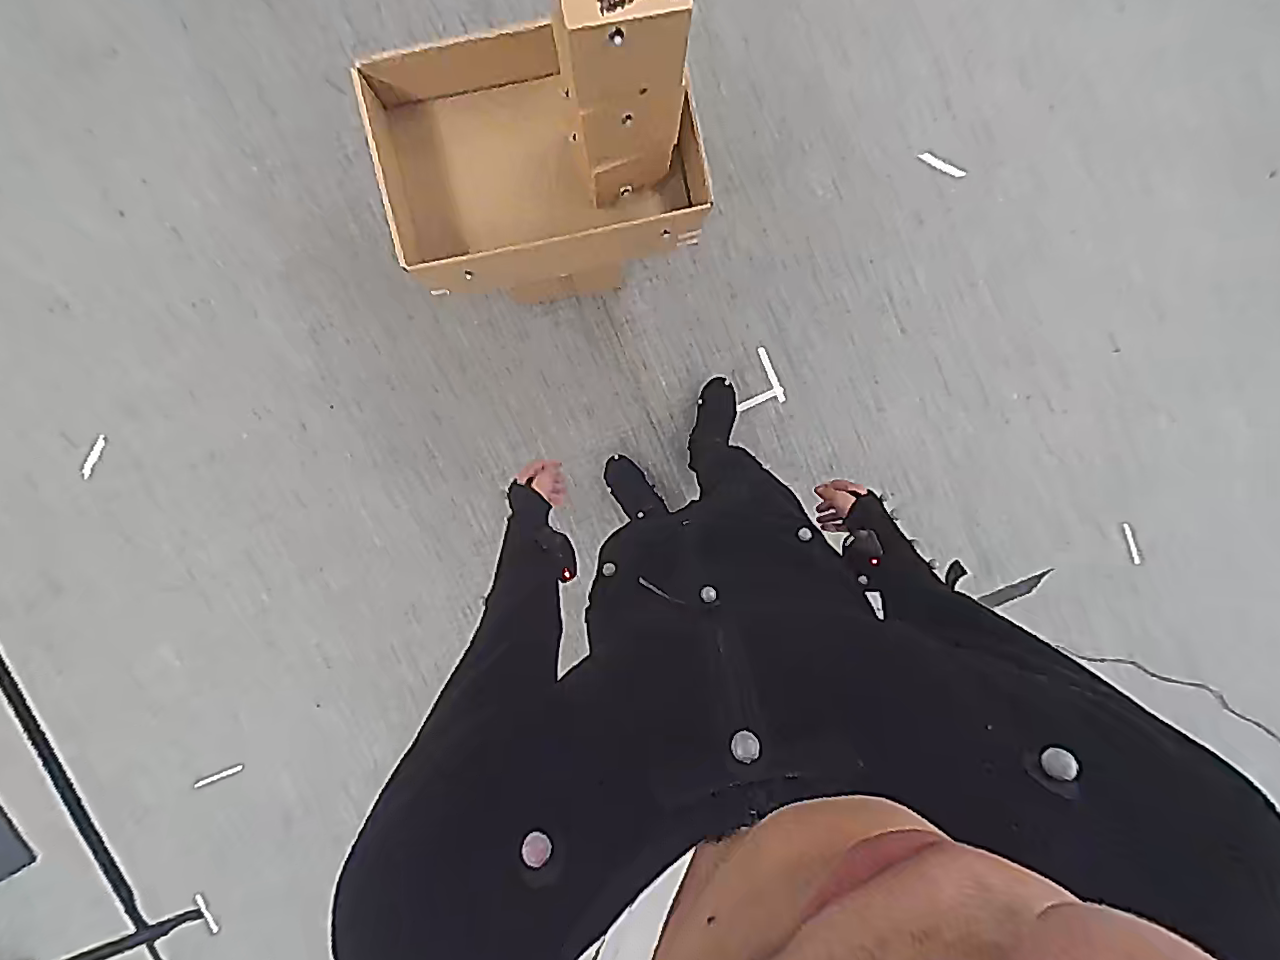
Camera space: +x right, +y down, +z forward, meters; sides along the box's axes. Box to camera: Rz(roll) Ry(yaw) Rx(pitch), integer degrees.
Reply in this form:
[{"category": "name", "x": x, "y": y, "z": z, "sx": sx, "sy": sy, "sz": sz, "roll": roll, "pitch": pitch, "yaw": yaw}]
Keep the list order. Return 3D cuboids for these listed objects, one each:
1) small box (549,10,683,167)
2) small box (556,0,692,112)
[{"category": "small box", "x": -0.037, "y": -0.662, "z": 0.907, "sx": 0.179, "sy": 0.176, "sz": 0.168, "roll": -16, "pitch": 94, "yaw": 0}, {"category": "small box", "x": -0.031, "y": -0.655, "z": 0.743, "sx": 0.168, "sy": 0.176, "sz": 0.179, "roll": -10, "pitch": 93, "yaw": 0}]
